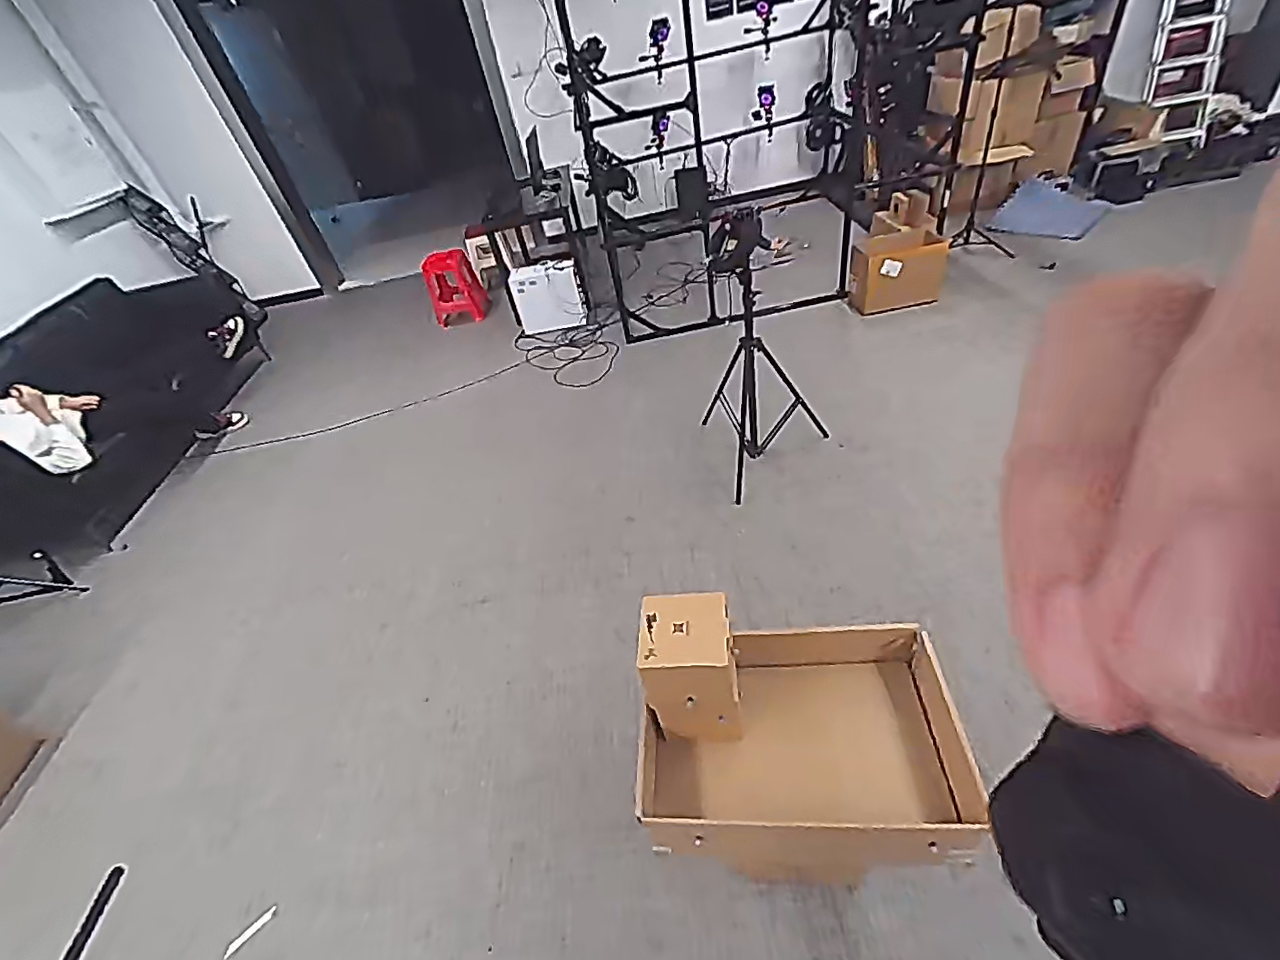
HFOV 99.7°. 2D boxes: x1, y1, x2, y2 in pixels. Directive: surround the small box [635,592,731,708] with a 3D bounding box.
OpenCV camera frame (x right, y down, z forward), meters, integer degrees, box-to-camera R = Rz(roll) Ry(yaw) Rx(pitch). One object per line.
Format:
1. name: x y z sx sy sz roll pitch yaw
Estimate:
1. small box: 0.095 0.346 1.098 0.179 0.176 0.168 -4 41 10
